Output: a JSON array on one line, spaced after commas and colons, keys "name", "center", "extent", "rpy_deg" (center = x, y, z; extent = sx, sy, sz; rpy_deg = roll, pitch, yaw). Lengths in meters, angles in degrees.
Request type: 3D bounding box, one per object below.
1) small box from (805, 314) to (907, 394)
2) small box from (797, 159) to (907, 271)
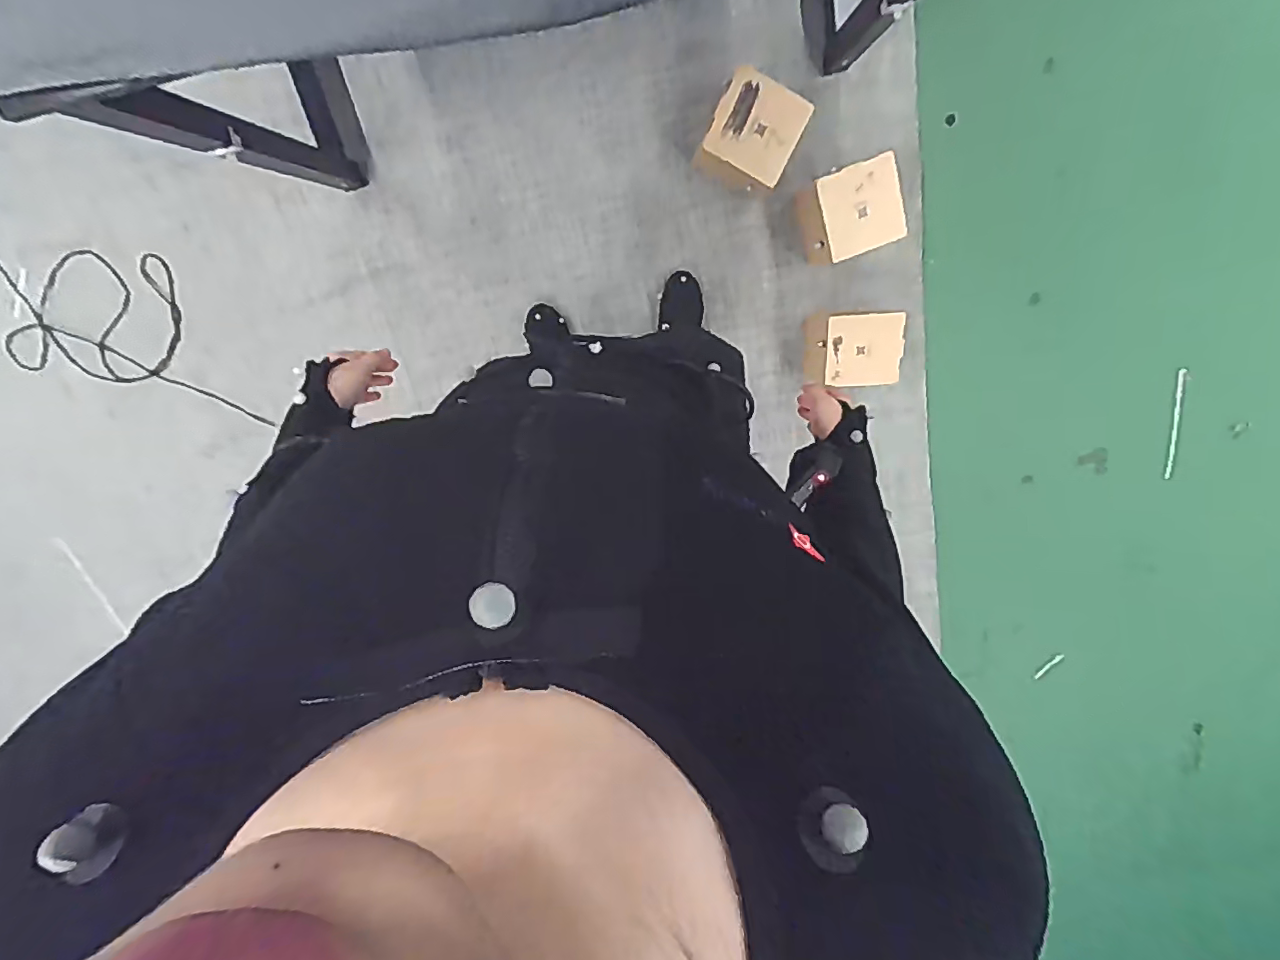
[{"name": "small box", "center": [0.519, -0.312, 1.319], "extent": [0.179, 0.176, 0.168], "rpy_deg": [-2, 111, 1]}, {"name": "small box", "center": [0.471, -0.586, 1.216], "extent": [0.168, 0.176, 0.179], "rpy_deg": [-19, 109, 7]}]
